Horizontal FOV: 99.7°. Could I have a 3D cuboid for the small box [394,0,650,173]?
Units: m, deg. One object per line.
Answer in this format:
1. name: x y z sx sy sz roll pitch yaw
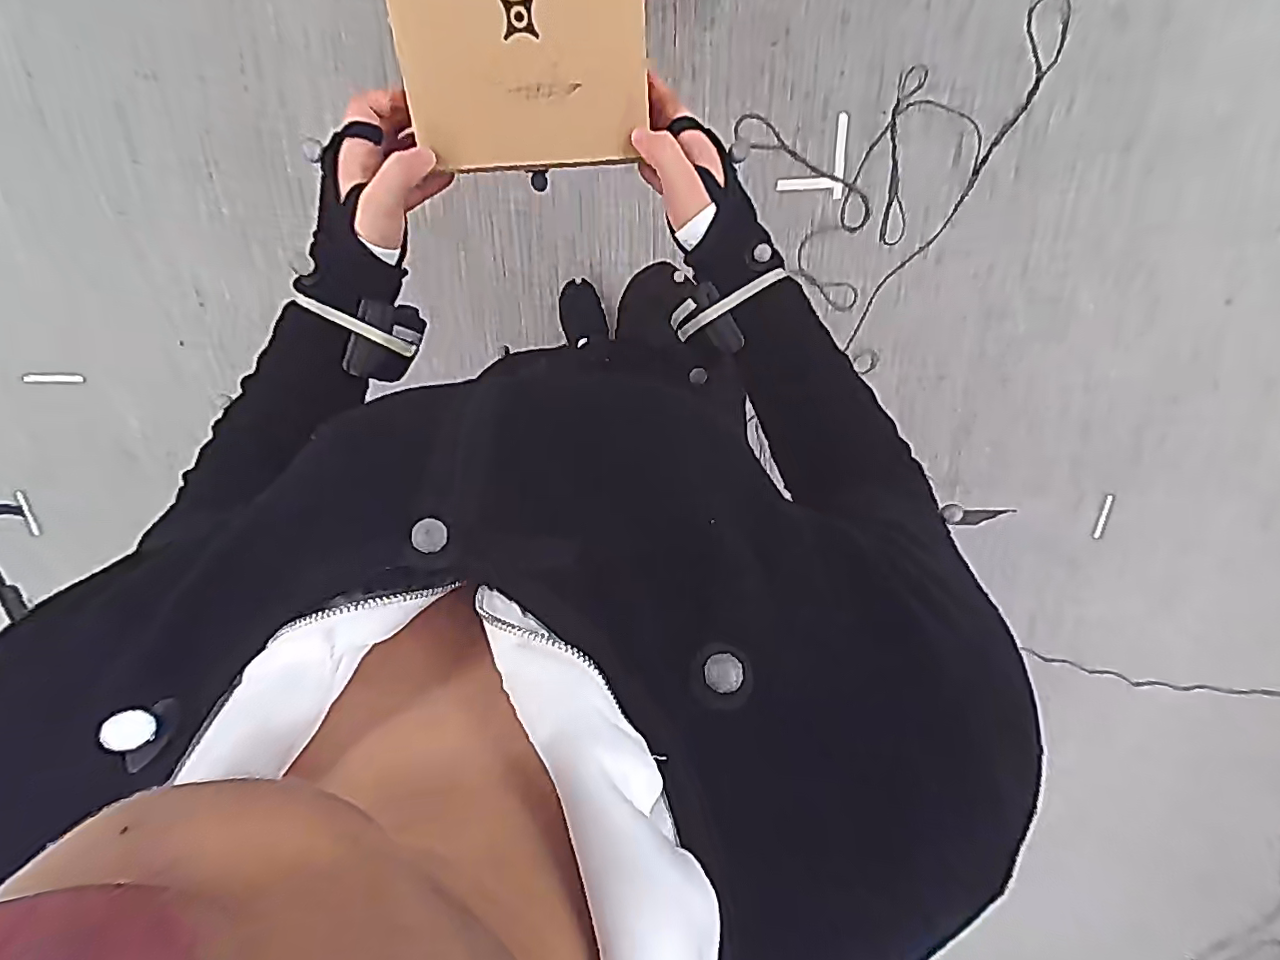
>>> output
1. small box: -0.083 -0.347 0.425 0.168 0.176 0.179 -4 119 -2
